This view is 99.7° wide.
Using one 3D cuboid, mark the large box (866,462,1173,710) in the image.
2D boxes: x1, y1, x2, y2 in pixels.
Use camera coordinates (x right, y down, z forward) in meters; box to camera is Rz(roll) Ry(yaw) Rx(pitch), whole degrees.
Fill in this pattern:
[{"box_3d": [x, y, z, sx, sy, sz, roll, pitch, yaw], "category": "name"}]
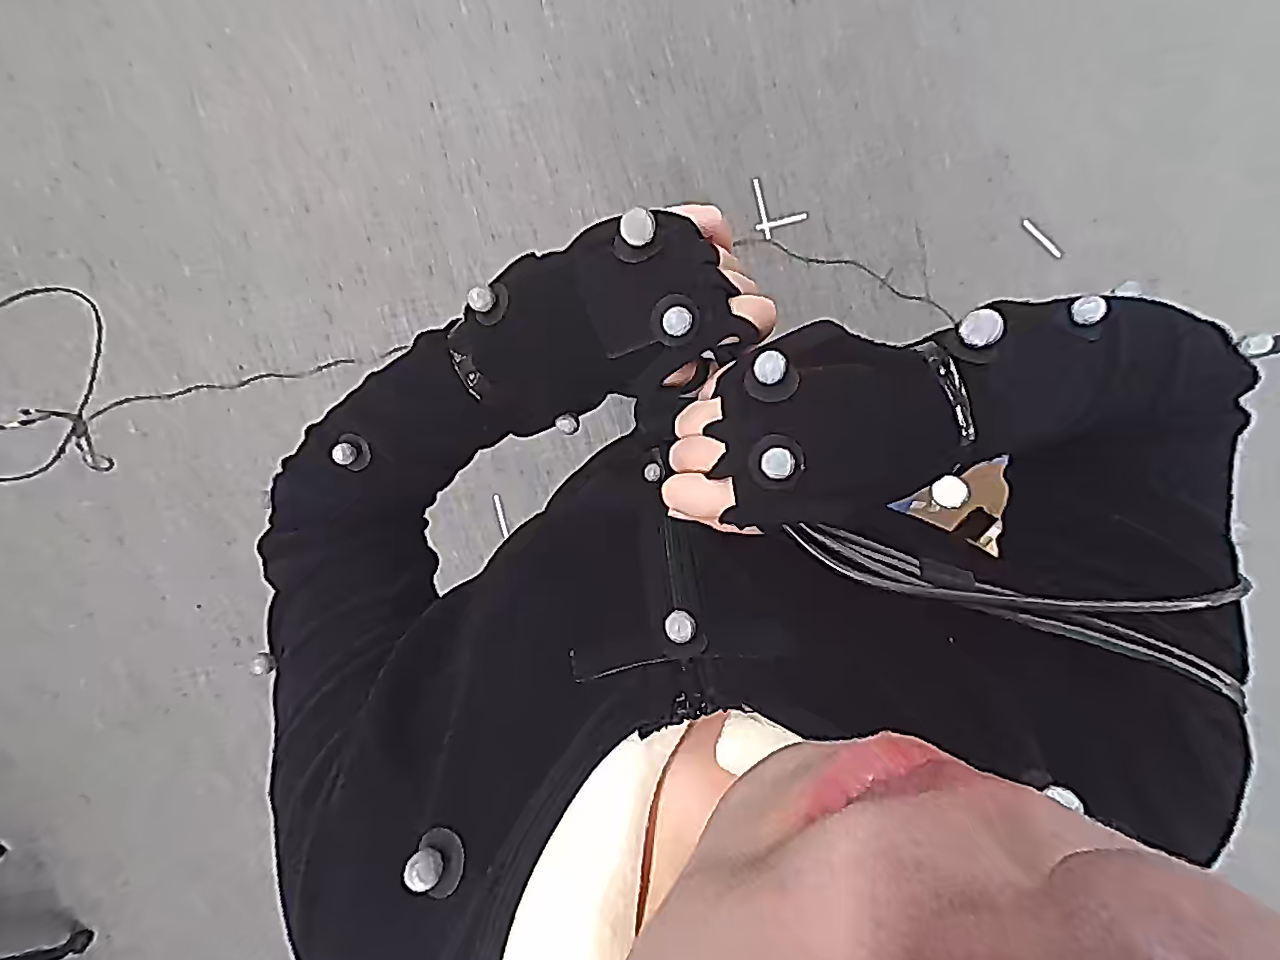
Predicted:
[{"box_3d": [0.806, 0.208, 1.206, 0.408, 0.320, 0.320, 42, 95, -7], "category": "large box"}]
